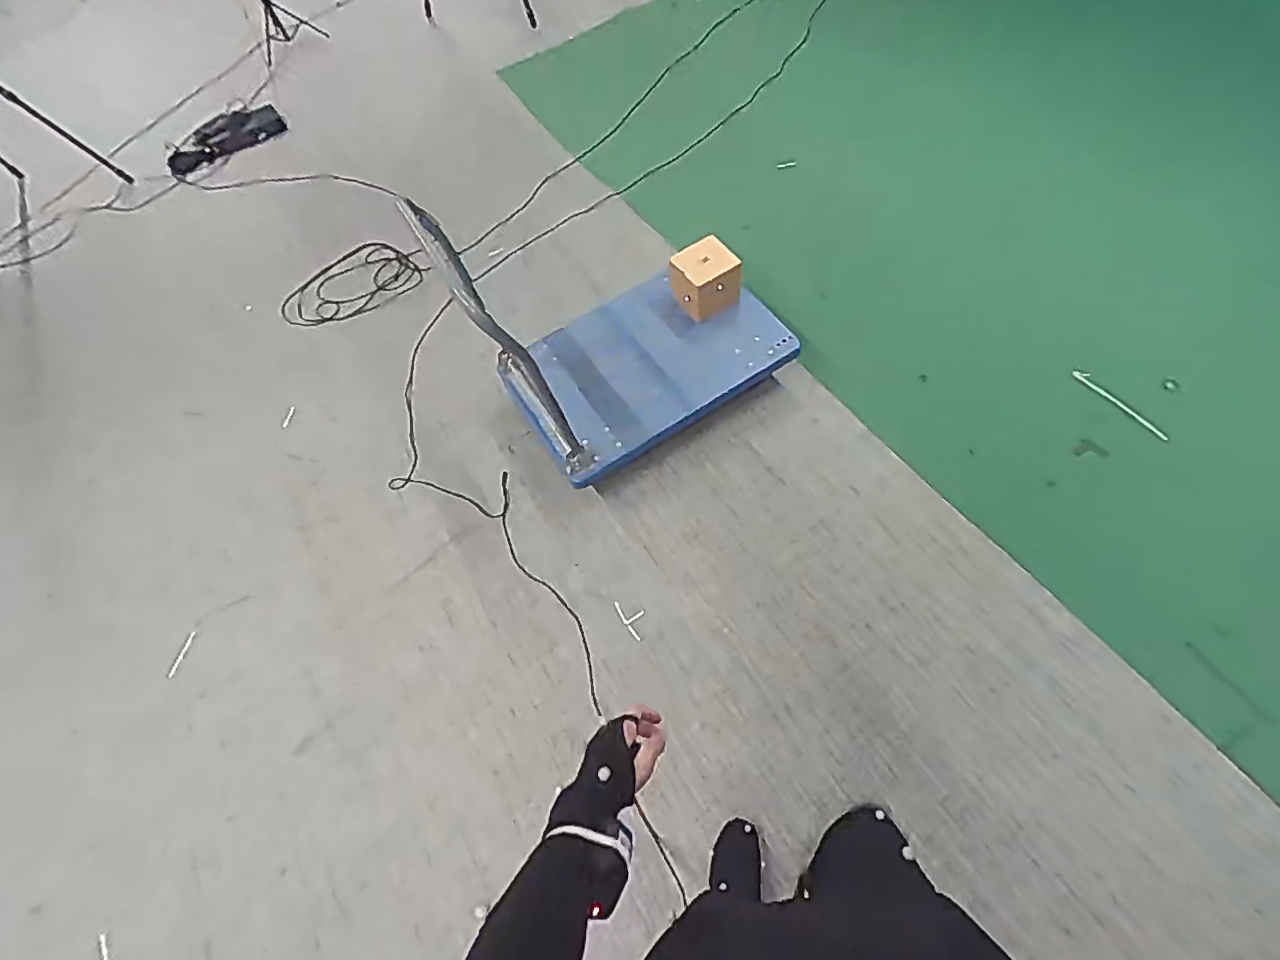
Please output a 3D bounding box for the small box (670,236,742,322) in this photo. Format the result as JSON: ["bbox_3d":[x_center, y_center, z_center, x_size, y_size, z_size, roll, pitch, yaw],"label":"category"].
[{"bbox_3d":[0.221,-0.662,1.797,0.179,0.176,0.168,-31,64,-8],"label":"small box"}]
